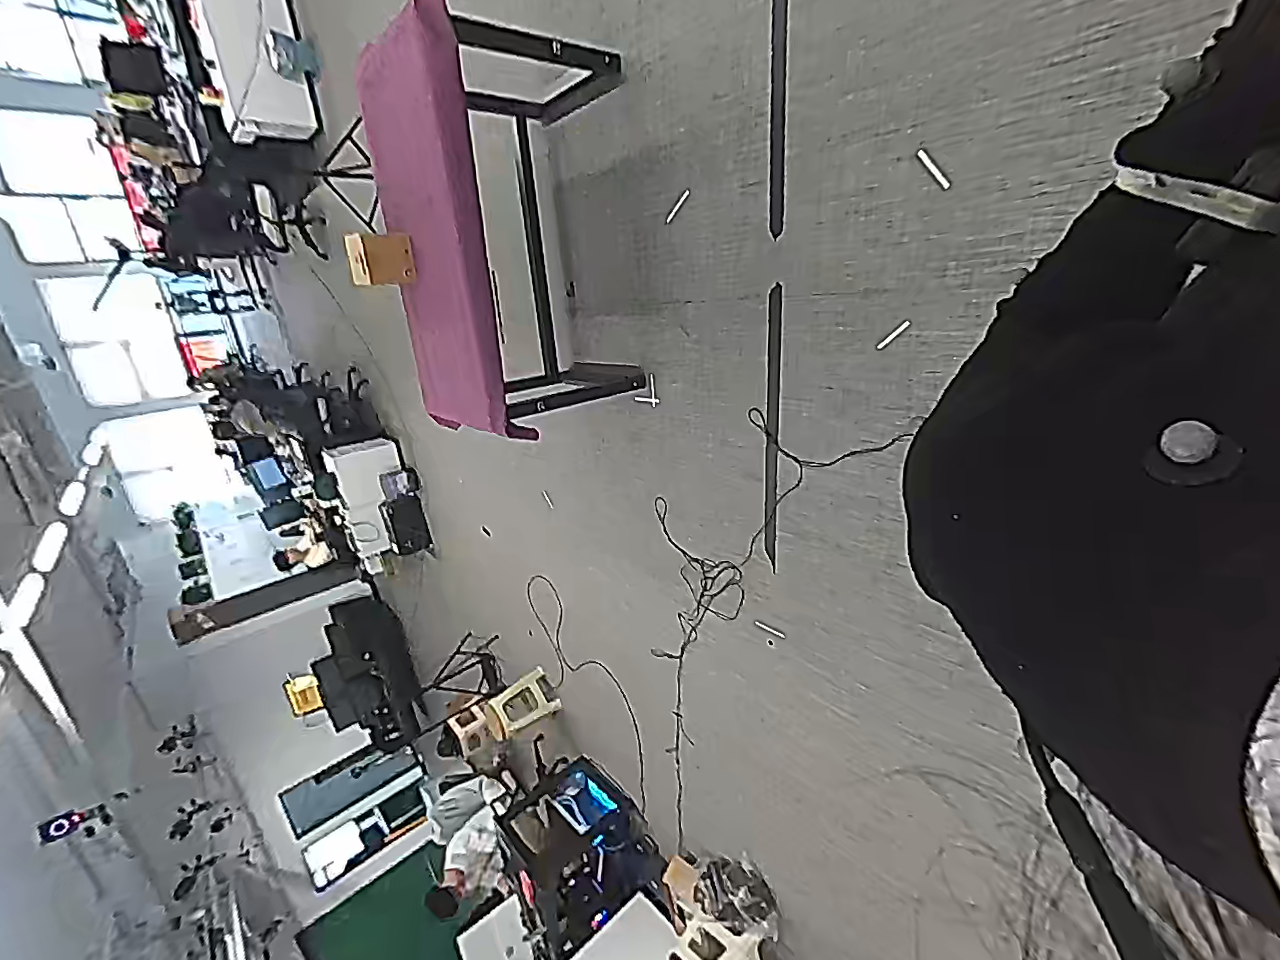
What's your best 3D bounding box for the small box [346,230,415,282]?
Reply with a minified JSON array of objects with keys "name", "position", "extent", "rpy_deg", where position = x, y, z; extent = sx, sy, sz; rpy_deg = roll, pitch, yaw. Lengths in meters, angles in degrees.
[{"name":"small box","position":[-0.927,-0.807,1.945],"extent":[0.179,0.176,0.168],"rpy_deg":[22,123,44]}]
